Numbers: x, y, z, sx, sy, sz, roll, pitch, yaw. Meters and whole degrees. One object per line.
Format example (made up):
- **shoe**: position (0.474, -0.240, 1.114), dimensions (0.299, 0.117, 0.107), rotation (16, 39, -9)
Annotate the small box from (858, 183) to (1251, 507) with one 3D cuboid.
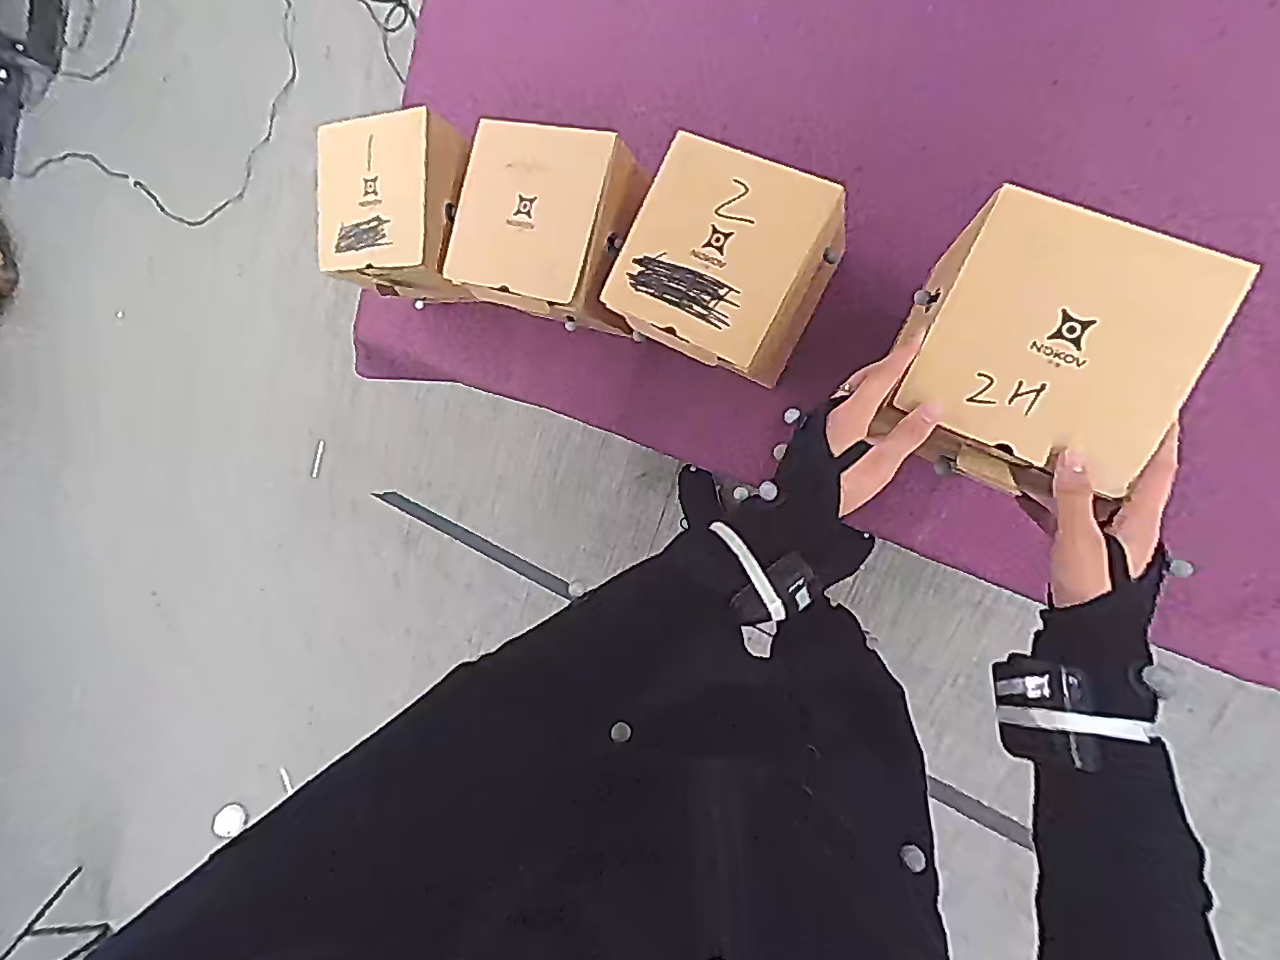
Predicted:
- **small box**: position (0.302, -0.095, 0.447), dimensions (0.168, 0.176, 0.179), rotation (27, 97, 11)
